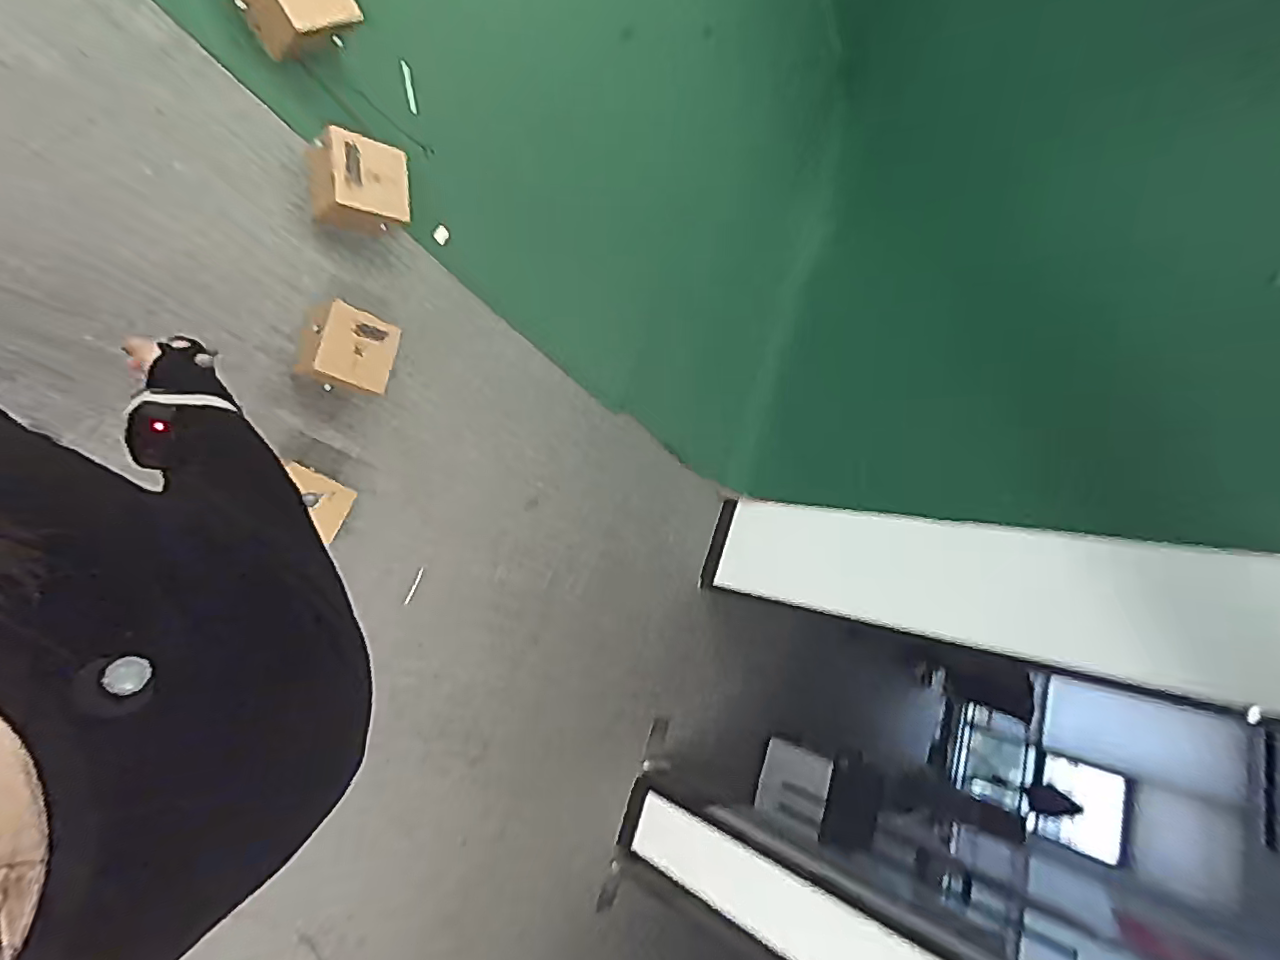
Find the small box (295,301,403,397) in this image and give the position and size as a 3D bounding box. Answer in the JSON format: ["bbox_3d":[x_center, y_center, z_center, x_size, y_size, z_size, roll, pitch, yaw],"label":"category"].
[{"bbox_3d":[-0.725,-0.317,1.343,0.168,0.176,0.179,22,78,-47],"label":"small box"}]

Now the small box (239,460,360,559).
[{"bbox_3d":[-0.813,0.066,1.283,0.168,0.176,0.179,39,65,-44],"label":"small box"}]

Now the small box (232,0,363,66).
[{"bbox_3d":[-0.776,-1.071,1.213,0.179,0.176,0.168,-50,128,-34],"label":"small box"}]
